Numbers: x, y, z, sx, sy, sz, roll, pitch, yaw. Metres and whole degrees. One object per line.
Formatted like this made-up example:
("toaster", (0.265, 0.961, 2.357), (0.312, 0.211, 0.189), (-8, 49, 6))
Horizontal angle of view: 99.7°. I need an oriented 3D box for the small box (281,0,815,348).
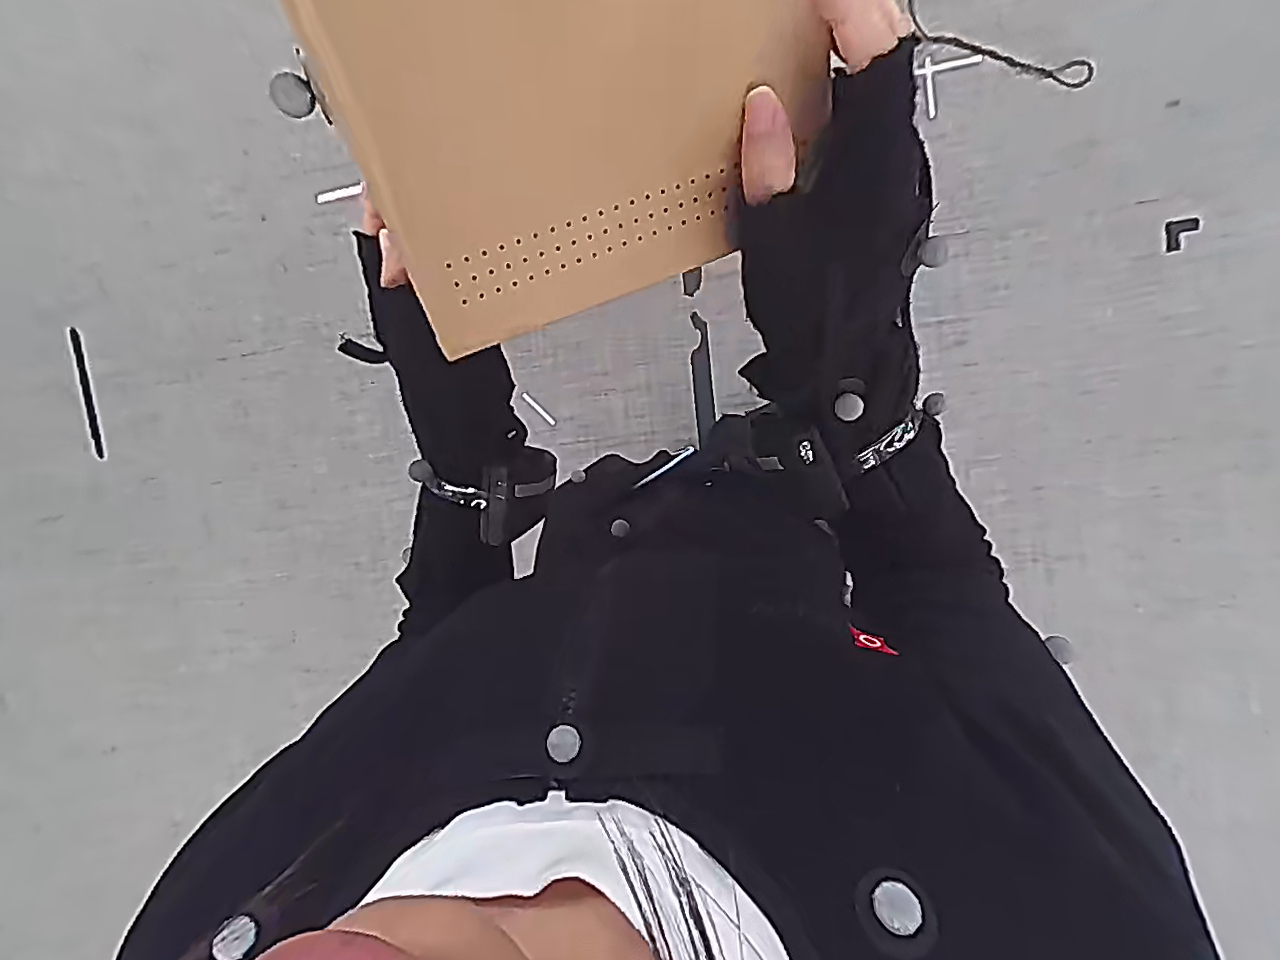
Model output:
("small box", (-0.041, -0.179, 0.237), (0.179, 0.168, 0.176), (-25, 128, -11))
